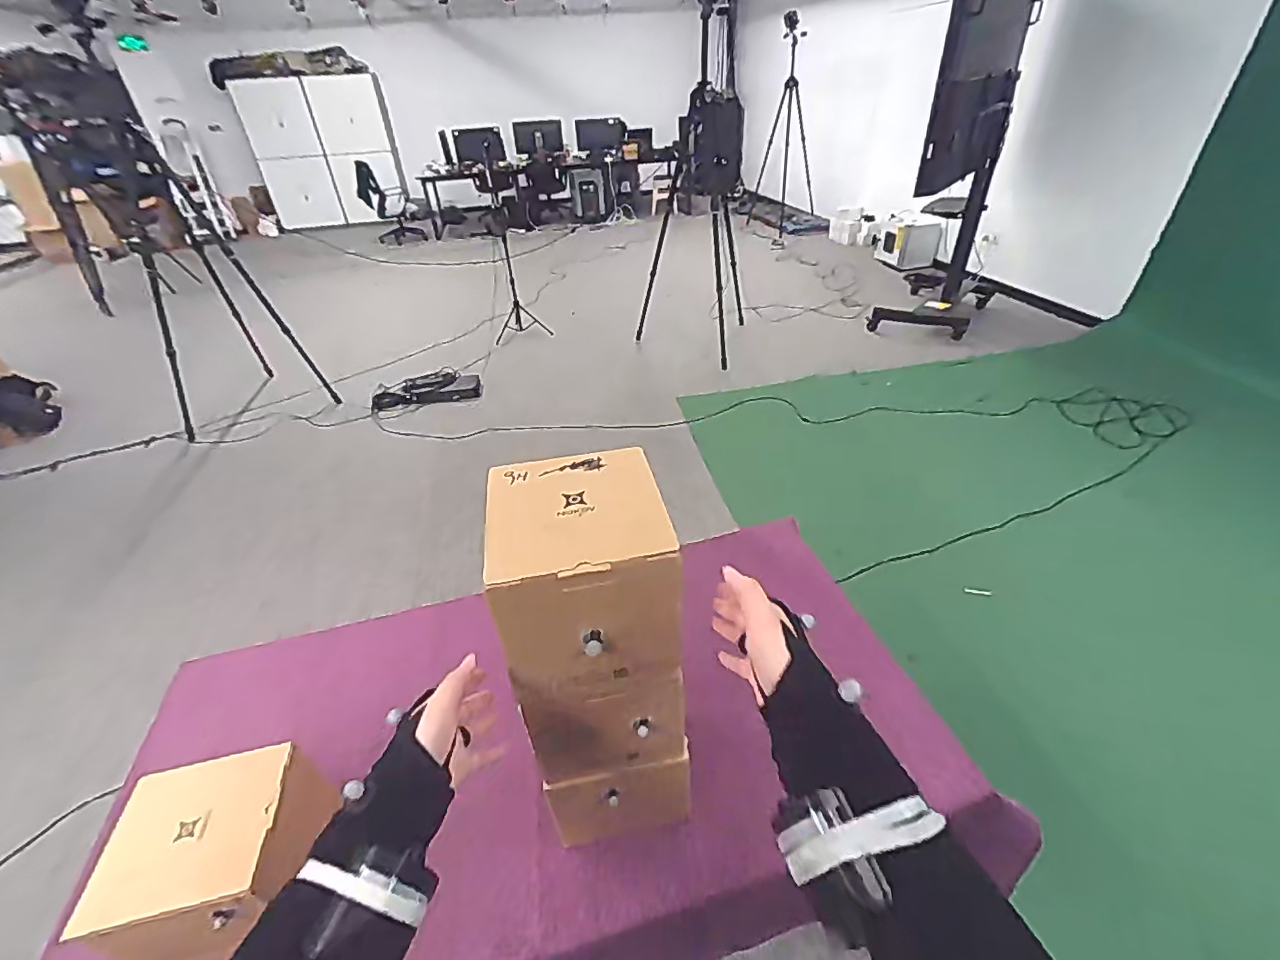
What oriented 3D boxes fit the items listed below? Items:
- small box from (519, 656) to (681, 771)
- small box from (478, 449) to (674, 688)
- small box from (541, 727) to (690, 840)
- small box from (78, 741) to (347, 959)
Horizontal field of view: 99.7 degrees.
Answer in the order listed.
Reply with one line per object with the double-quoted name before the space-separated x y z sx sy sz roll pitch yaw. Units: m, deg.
"small box" -0.047 0.226 0.656 0.168 0.176 0.179 -8 35 -6
"small box" -0.062 0.093 0.559 0.168 0.176 0.179 -8 36 -7
"small box" -0.034 0.363 0.744 0.179 0.176 0.168 -9 36 -5
"small box" -0.495 0.461 0.664 0.179 0.176 0.168 -11 36 -9
